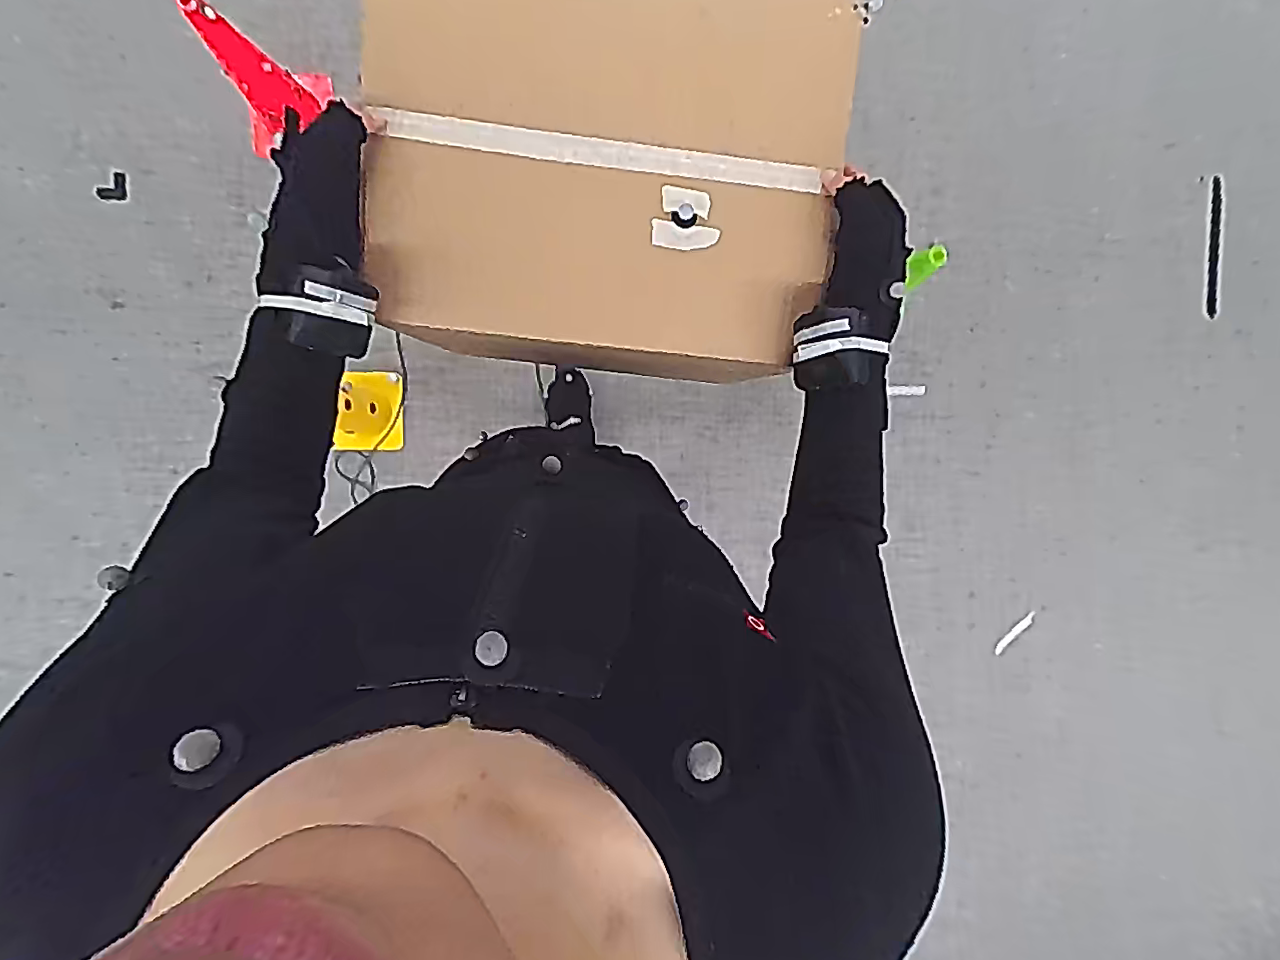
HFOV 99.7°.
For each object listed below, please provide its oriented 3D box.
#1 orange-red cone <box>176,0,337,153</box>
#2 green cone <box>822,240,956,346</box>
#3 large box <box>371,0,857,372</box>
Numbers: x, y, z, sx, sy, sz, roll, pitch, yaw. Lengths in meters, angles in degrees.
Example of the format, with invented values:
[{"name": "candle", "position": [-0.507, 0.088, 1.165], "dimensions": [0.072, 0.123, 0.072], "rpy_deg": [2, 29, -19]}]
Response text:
[{"name": "orange-red cone", "position": [-0.853, -0.906, 1.180], "dimensions": [0.198, 0.360, 0.199], "rpy_deg": [-2, 95, -3]}, {"name": "green cone", "position": [0.621, -0.484, 1.303], "dimensions": [0.202, 0.368, 0.200], "rpy_deg": [-37, 96, -3]}, {"name": "large box", "position": [-0.036, -0.303, 0.608], "dimensions": [0.408, 0.320, 0.320], "rpy_deg": [5, 98, -6]}]
